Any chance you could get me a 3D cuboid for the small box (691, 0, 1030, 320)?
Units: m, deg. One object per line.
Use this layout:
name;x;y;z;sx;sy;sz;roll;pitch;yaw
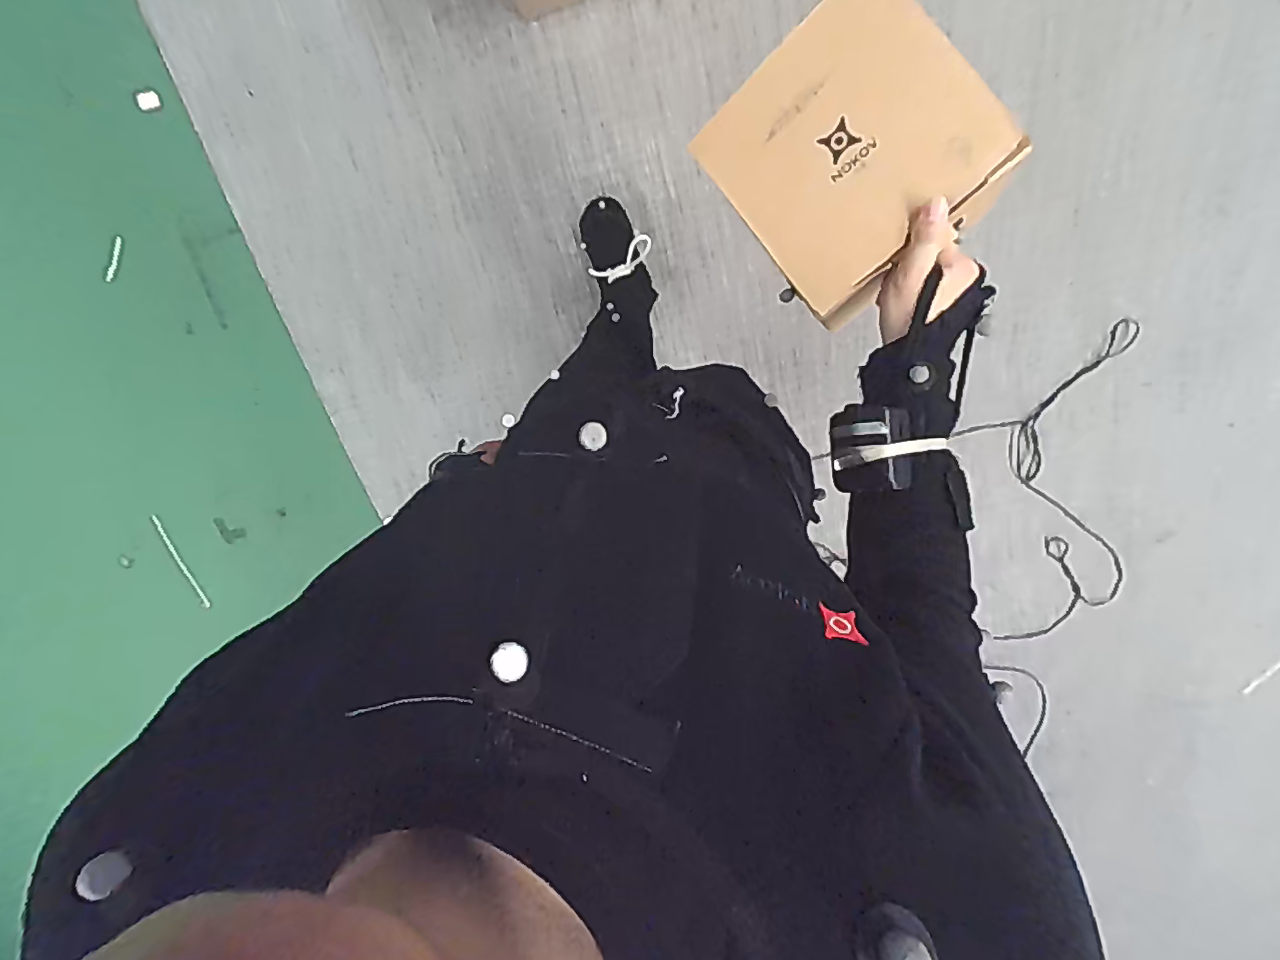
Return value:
small box;0.177;-0.254;0.459;0.168;0.176;0.179;-38;83;24
